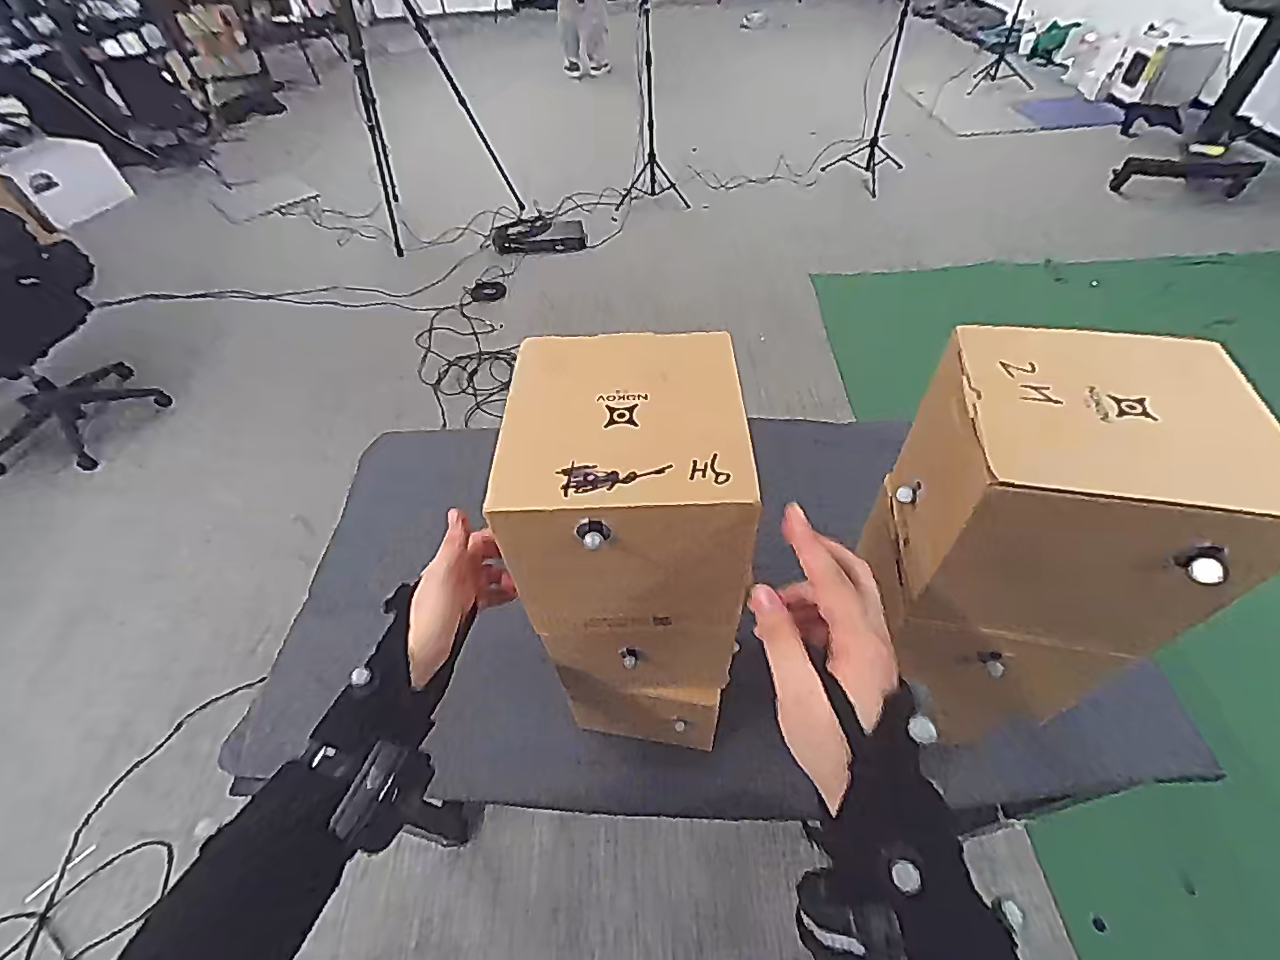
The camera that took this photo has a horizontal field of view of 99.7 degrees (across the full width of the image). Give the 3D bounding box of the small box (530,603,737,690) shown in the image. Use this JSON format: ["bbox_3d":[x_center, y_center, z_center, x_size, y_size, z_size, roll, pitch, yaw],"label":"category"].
[{"bbox_3d":[0.000,0.107,0.562,0.179,0.176,0.168,-1,49,4],"label":"small box"}]

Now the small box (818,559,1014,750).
[{"bbox_3d":[0.327,0.213,0.663,0.168,0.176,0.179,-2,50,4],"label":"small box"}]

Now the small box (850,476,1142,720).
[{"bbox_3d":[0.317,0.119,0.531,0.179,0.176,0.168,6,50,11],"label":"small box"}]

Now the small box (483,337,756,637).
[{"bbox_3d":[-0.008,0.007,0.432,0.168,0.176,0.179,-2,48,3],"label":"small box"}]

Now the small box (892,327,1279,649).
[{"bbox_3d":[0.309,0.009,0.408,0.179,0.176,0.168,8,50,12],"label":"small box"}]
